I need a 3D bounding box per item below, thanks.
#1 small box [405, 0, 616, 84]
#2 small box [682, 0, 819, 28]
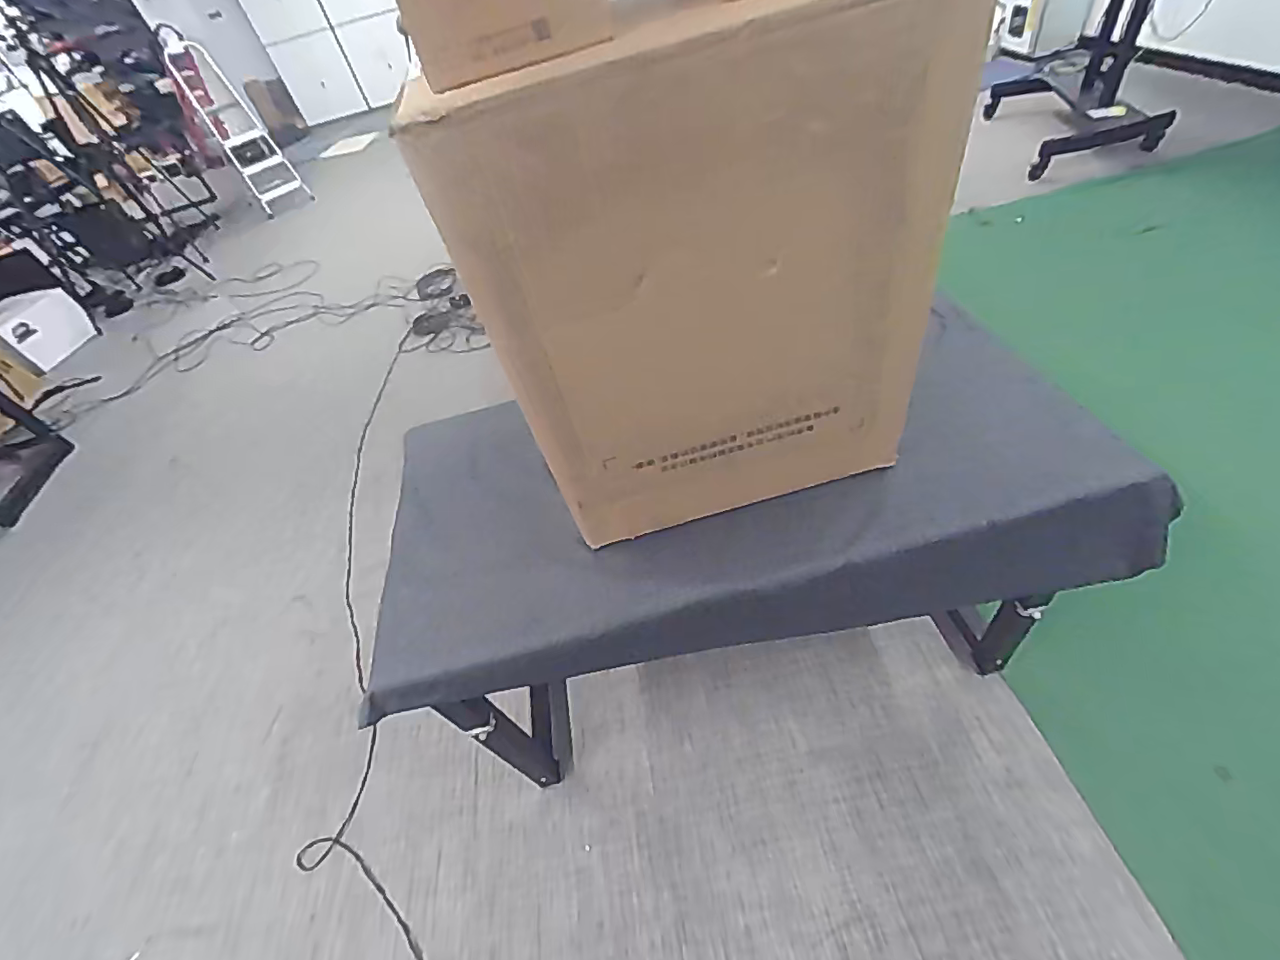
[{"bbox_3d":[-0.127,-0.465,0.455,0.168,0.176,0.179,-17,50,-1],"label":"small box"},{"bbox_3d":[0.130,-0.533,0.471,0.179,0.176,0.168,-18,49,-1],"label":"small box"}]
